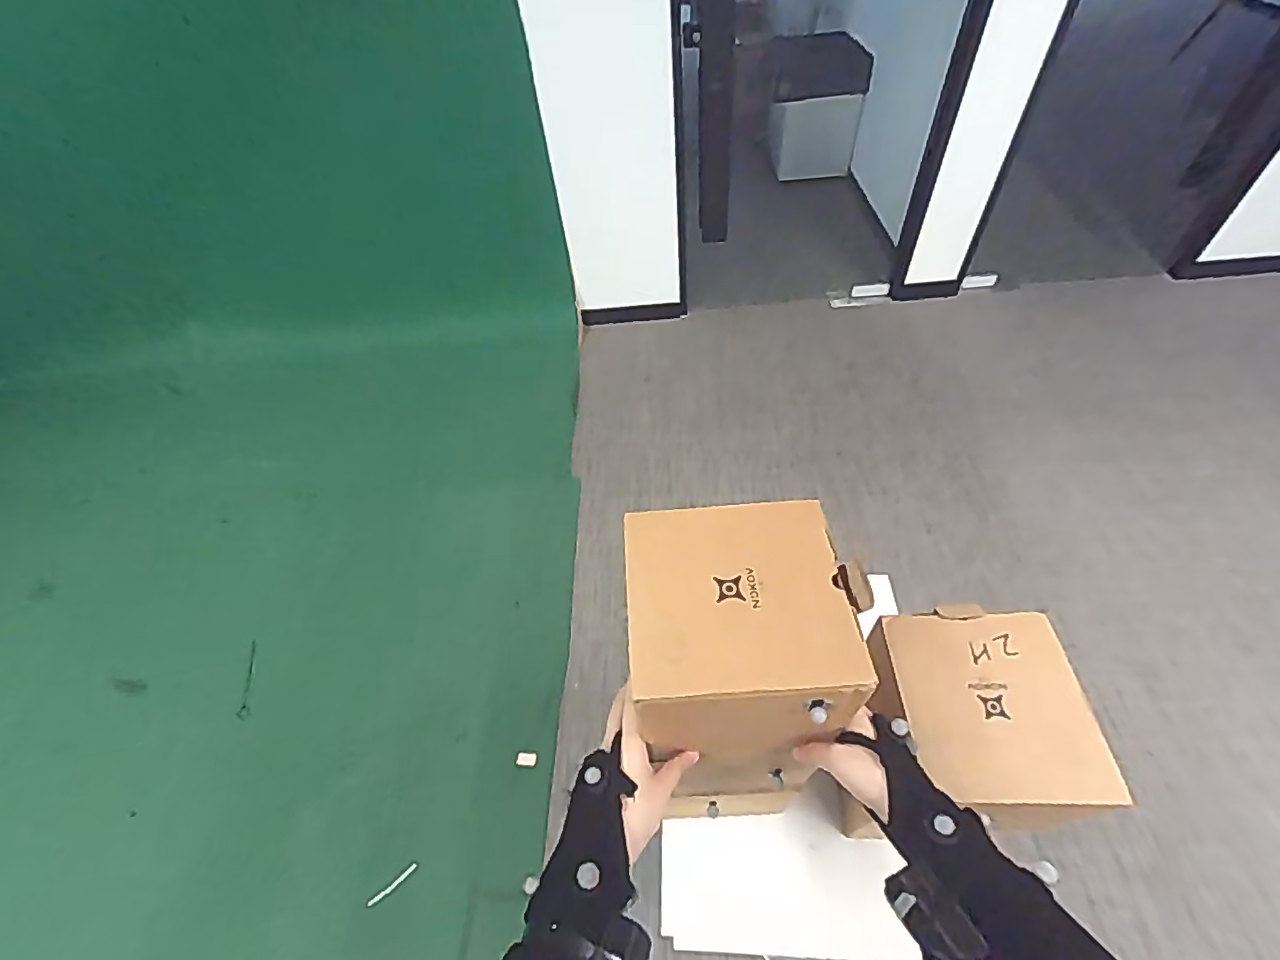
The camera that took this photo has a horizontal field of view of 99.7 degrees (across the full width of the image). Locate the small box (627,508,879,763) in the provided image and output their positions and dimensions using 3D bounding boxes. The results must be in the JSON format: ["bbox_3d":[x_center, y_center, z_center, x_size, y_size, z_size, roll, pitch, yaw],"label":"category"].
[{"bbox_3d":[0.084,0.145,0.491,0.179,0.176,0.168,-4,50,0],"label":"small box"}]

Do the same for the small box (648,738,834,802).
[{"bbox_3d":[0.096,0.253,0.613,0.179,0.176,0.168,-5,49,1],"label":"small box"}]

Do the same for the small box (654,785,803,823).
[{"bbox_3d":[0.107,0.359,0.737,0.179,0.176,0.168,-4,51,1],"label":"small box"}]

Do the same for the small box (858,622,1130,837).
[{"bbox_3d":[0.341,0.265,0.571,0.168,0.176,0.179,-2,51,6],"label":"small box"}]
